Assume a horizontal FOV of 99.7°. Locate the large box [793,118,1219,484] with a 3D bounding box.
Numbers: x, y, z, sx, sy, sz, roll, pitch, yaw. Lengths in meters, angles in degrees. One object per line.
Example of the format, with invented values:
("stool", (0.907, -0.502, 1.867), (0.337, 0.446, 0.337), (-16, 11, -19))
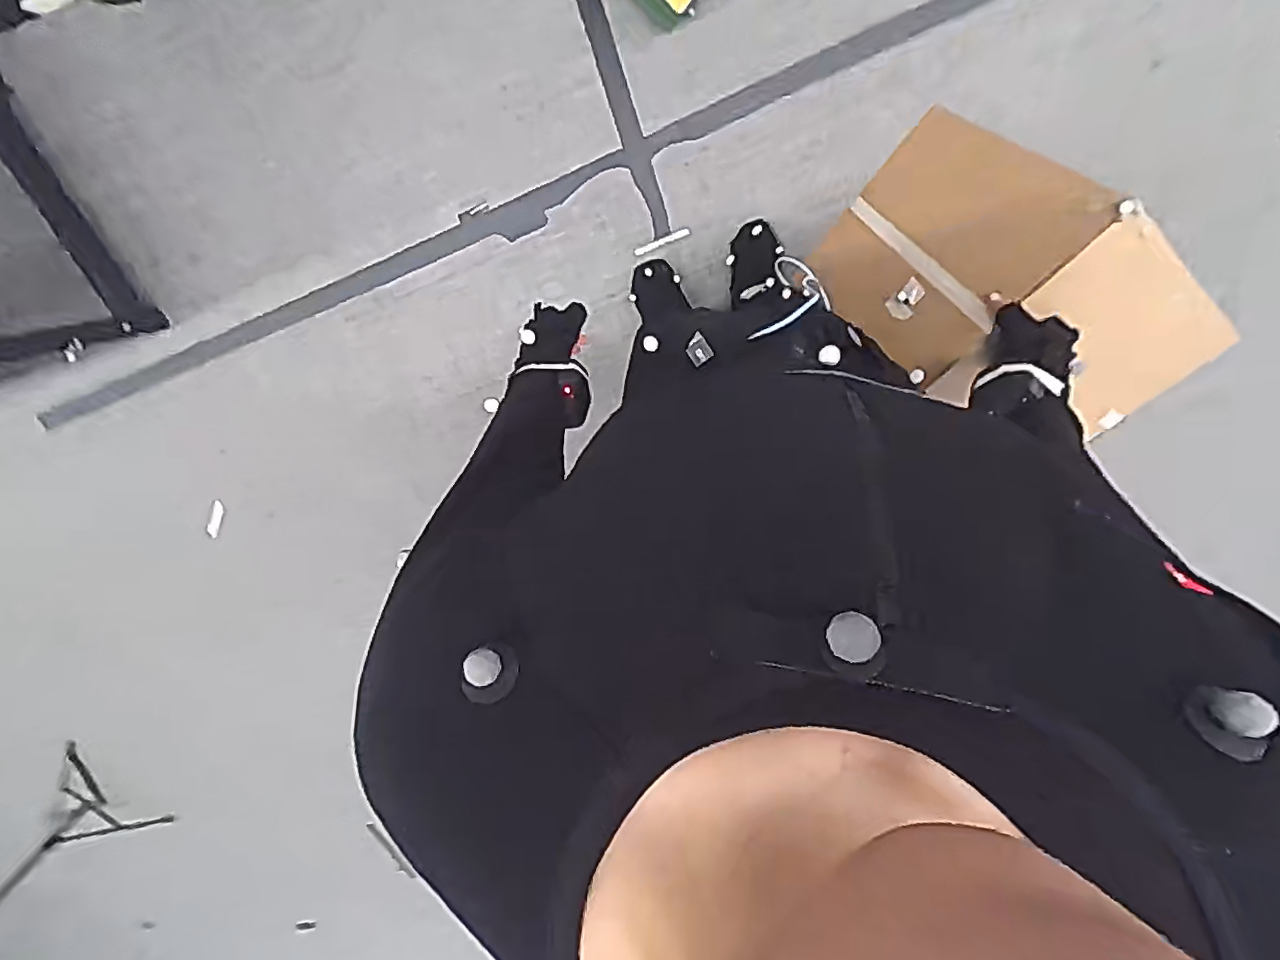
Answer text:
("large box", (0.506, -0.268, 0.830), (0.320, 0.408, 0.320), (19, 130, -27))
